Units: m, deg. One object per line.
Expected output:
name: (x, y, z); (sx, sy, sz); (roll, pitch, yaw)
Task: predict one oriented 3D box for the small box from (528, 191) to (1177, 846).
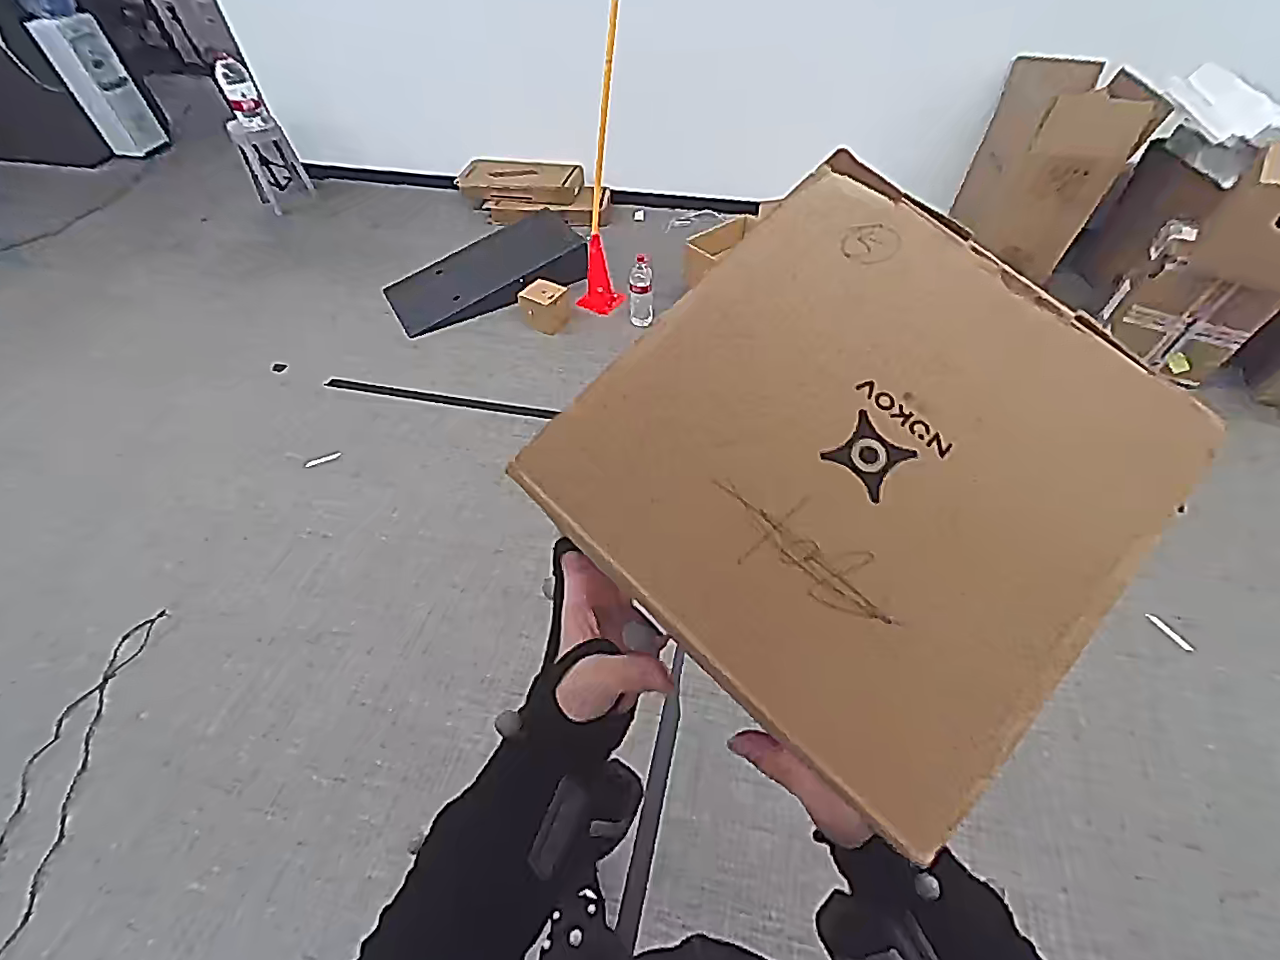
small box: (0.074, 0.015, 0.266); (0.168, 0.176, 0.179); (42, 80, 10)
